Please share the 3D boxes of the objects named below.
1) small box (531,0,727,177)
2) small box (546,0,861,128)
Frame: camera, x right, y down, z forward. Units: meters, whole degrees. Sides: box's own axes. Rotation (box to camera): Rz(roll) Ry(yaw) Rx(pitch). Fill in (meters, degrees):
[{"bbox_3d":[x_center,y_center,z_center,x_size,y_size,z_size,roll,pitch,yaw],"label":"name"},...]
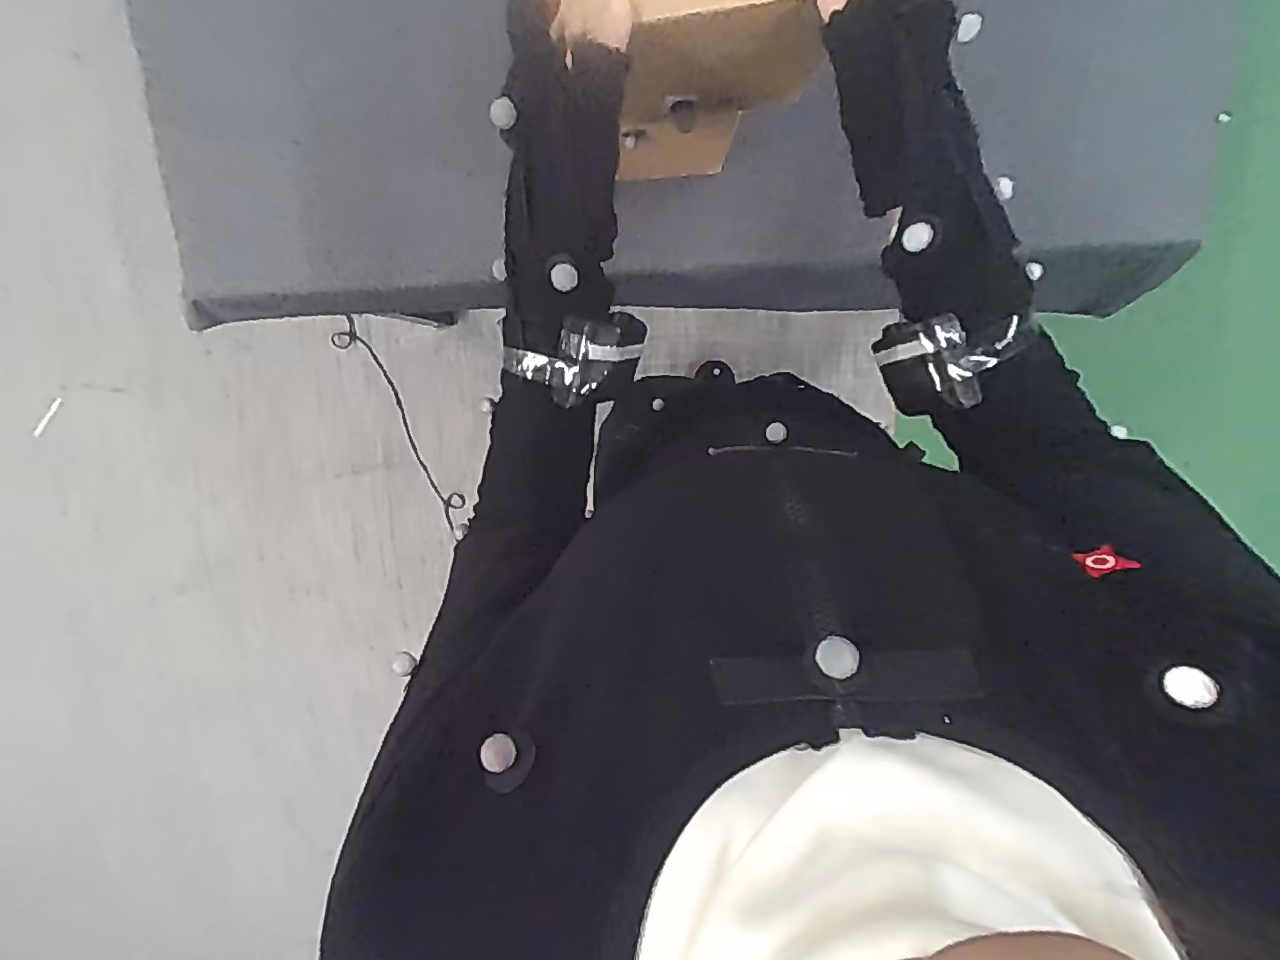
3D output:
[{"bbox_3d":[-0.003,-0.417,0.533,0.179,0.176,0.168,-3,102,1],"label":"small box"},{"bbox_3d":[0.027,-0.343,0.323,0.168,0.176,0.179,-5,109,3],"label":"small box"}]
